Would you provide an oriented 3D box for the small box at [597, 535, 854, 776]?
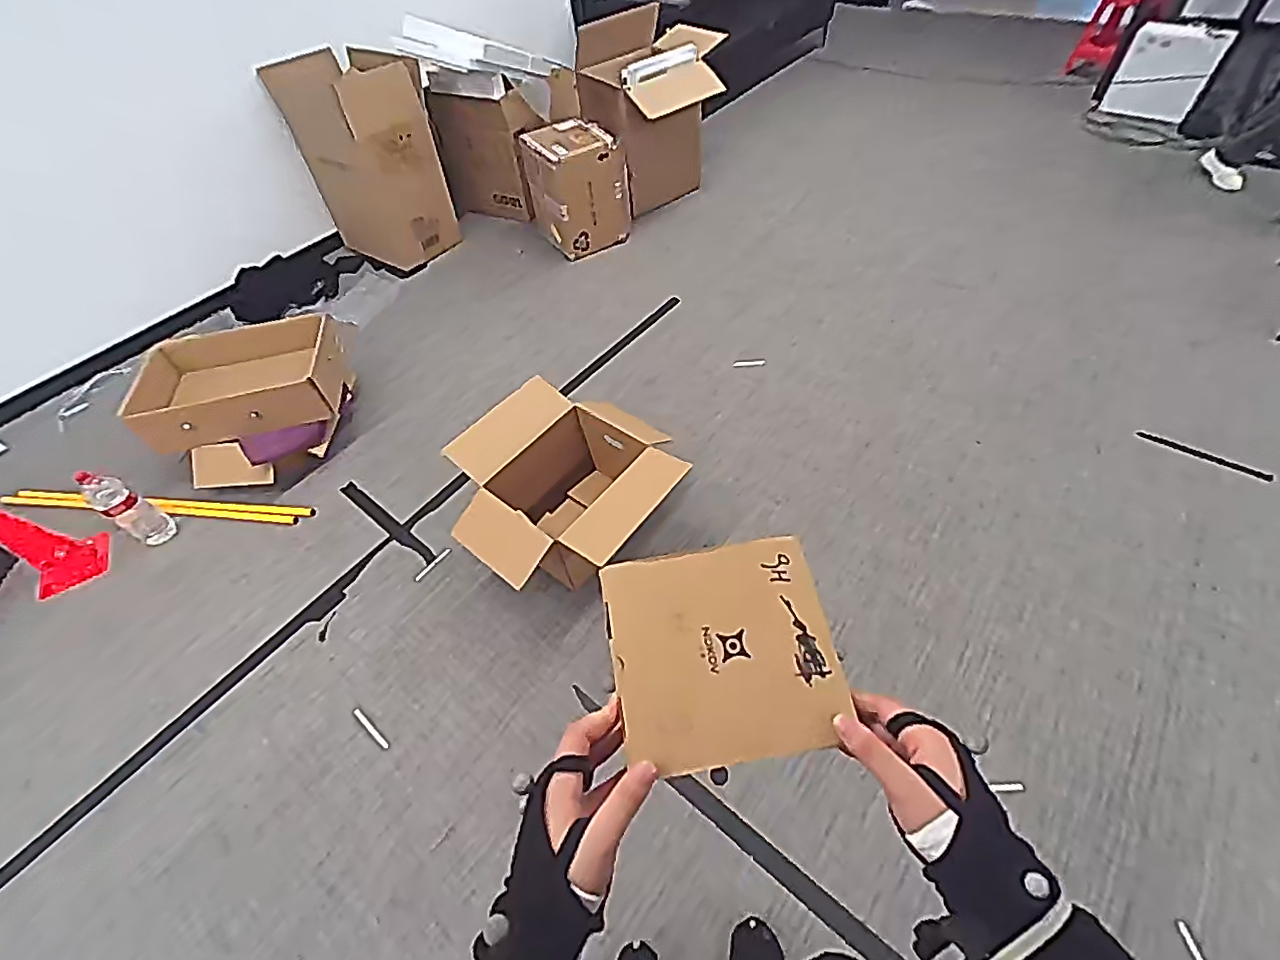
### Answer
[{"bbox_3d":[0.065,0.169,0.500,0.179,0.176,0.168,-10,62,-3],"label":"small box"}]
